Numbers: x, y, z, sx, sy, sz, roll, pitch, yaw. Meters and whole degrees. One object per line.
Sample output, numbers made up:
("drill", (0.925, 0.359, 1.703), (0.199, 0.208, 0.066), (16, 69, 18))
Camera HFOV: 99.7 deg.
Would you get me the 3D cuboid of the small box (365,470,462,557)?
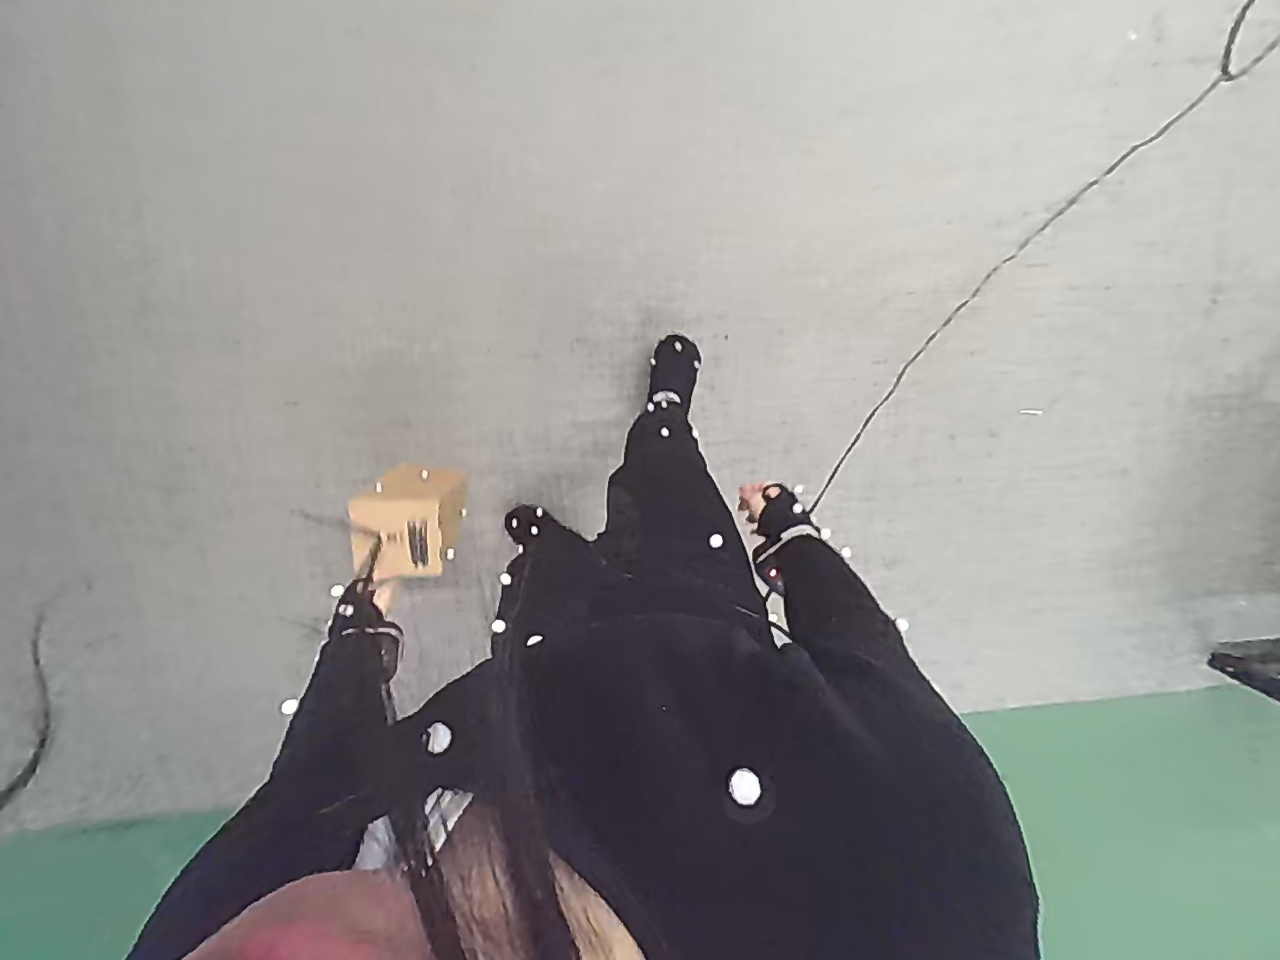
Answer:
("small box", (-0.552, 0.077, 1.333), (0.179, 0.176, 0.168), (8, 102, -10))
